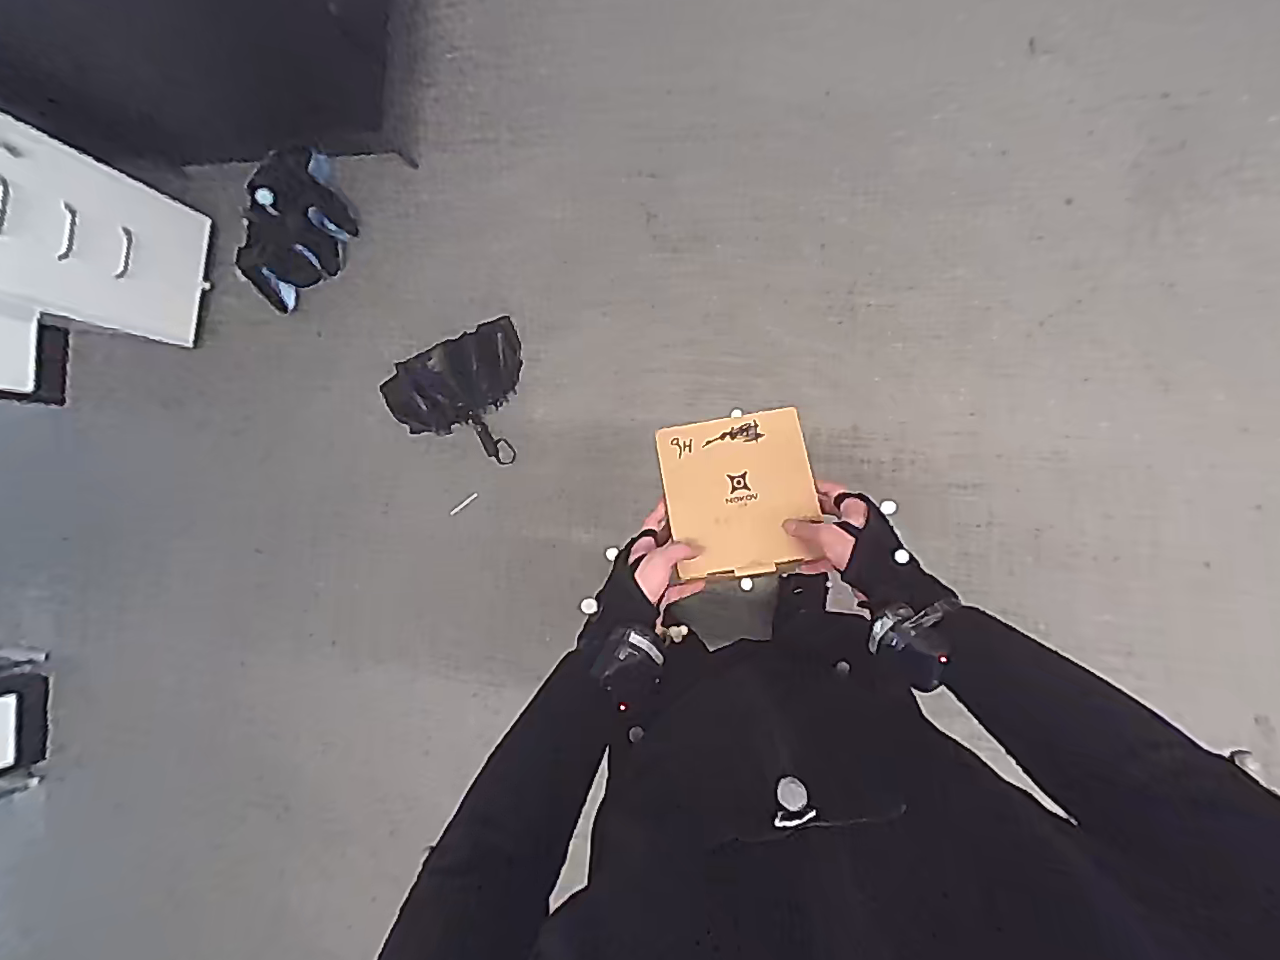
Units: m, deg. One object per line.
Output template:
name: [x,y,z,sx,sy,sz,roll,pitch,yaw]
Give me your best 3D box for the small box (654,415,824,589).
small box: [0.115,0.040,0.673,0.168,0.176,0.179,-9,74,3]
